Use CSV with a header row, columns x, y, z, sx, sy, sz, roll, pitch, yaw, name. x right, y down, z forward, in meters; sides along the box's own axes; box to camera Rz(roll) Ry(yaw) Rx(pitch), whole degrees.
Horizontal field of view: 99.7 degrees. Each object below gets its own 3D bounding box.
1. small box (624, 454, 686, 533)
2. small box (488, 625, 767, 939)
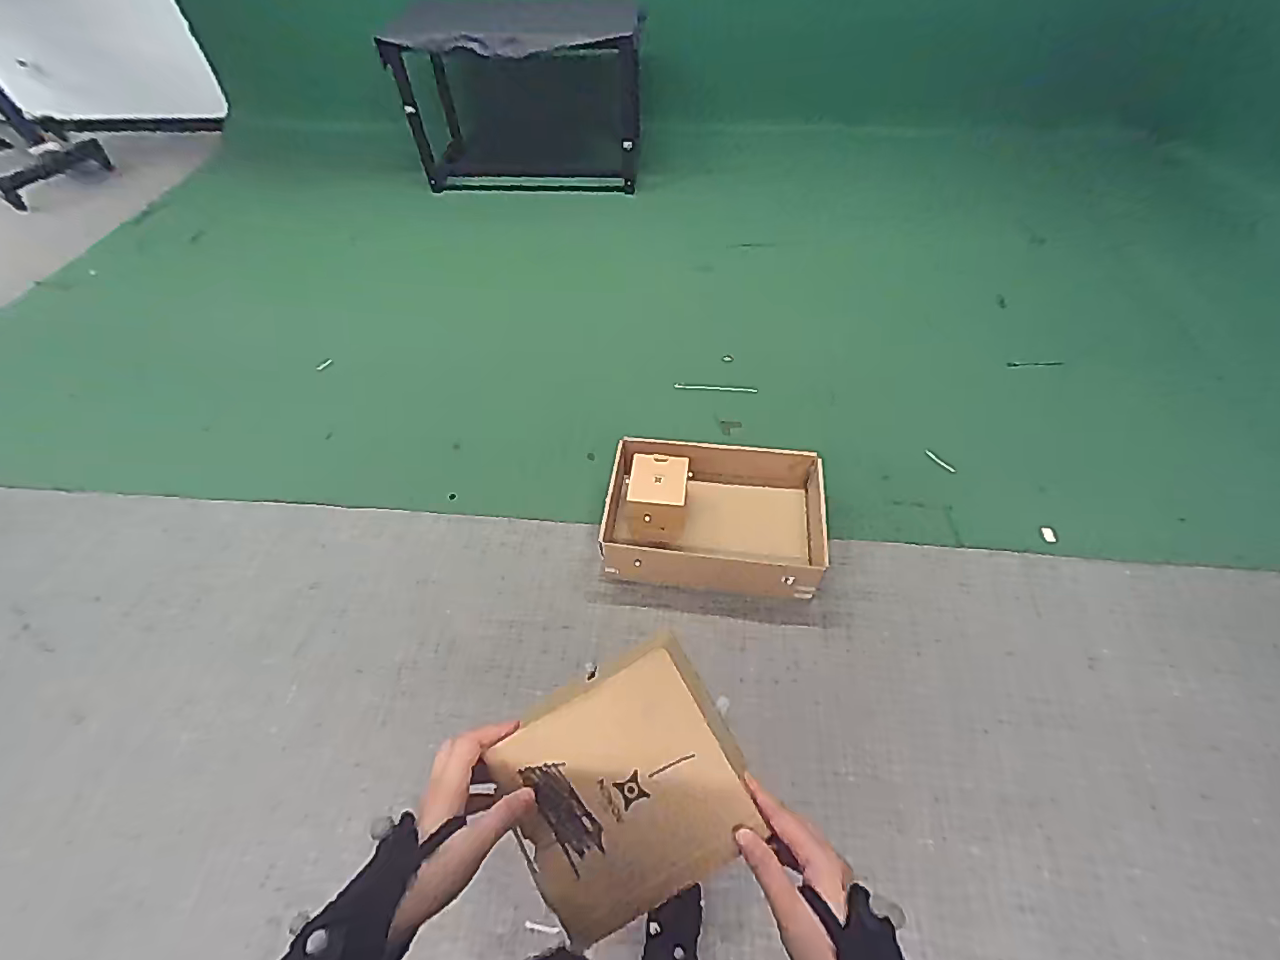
x,y,z,sx,sy,sz,roll,pitch,yaw,name
0.048,0.044,1.619,0.168,0.176,0.179,5,54,5,small box
-0.006,0.257,0.509,0.179,0.176,0.168,-30,82,-1,small box
